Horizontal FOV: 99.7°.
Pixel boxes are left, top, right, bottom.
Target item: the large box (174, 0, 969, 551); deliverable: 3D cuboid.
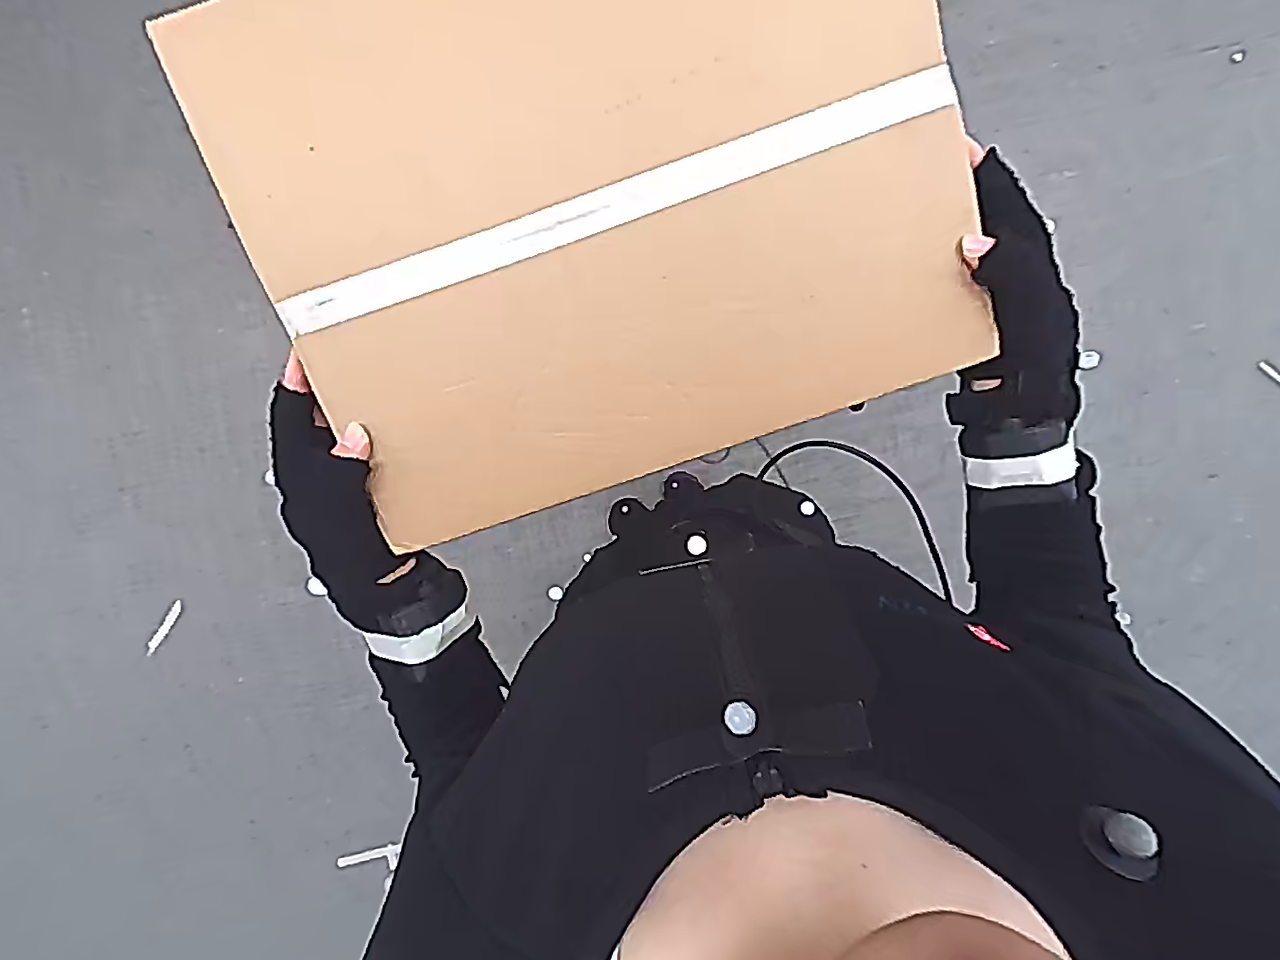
[{"bbox_3d":[-0.026,-0.192,0.465,0.408,0.320,0.320,-19,103,2],"label":"large box"}]
